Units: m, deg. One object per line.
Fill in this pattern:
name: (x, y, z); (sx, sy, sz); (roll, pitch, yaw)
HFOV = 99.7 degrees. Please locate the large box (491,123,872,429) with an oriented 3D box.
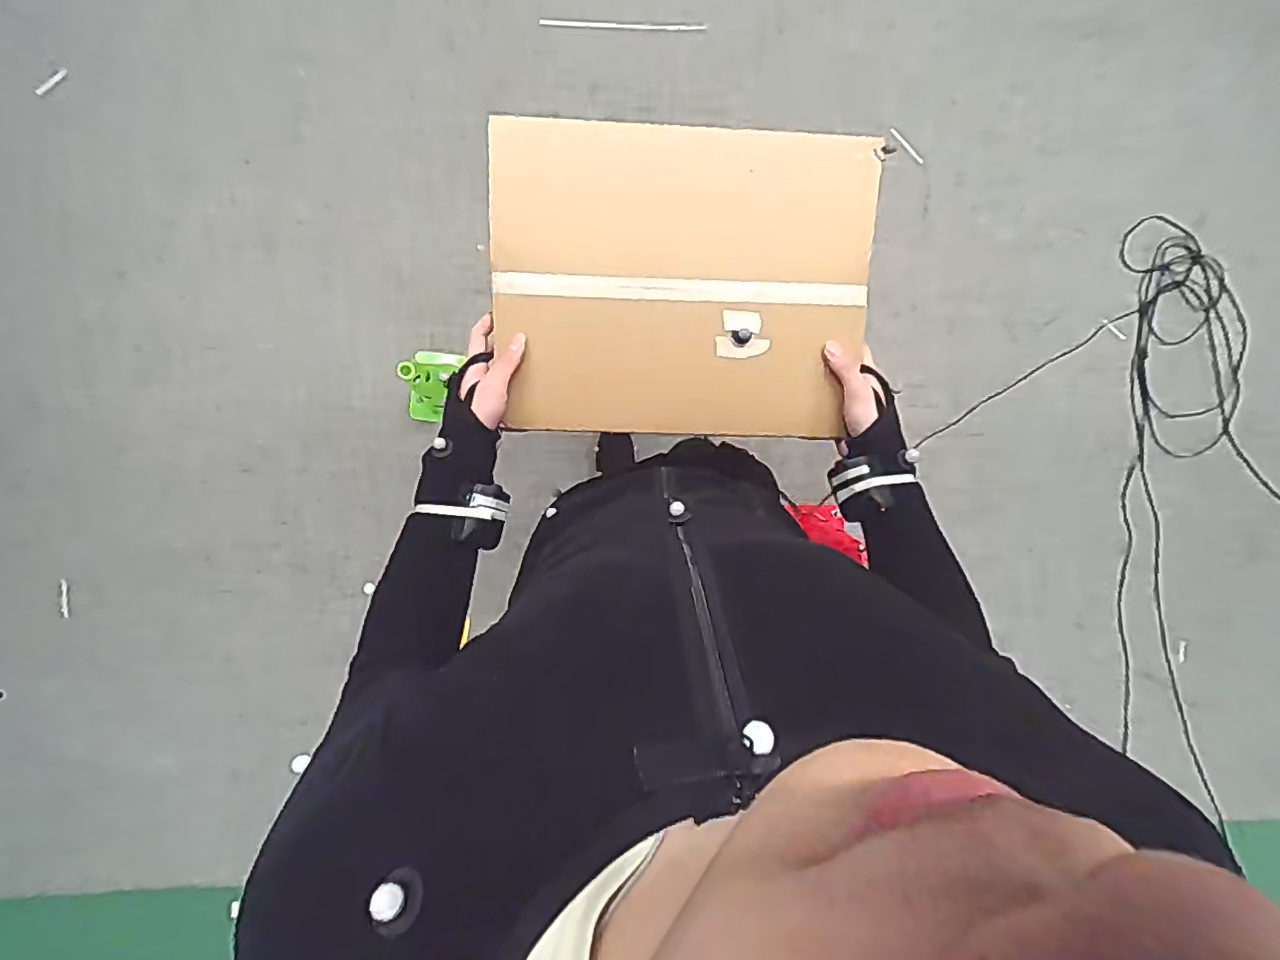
large box: (0.036, -0.243, 0.733); (0.408, 0.320, 0.320); (0, 103, -4)

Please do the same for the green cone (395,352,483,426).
green cone: (-0.550, -0.249, 1.396); (0.200, 0.368, 0.202); (5, 94, -4)
